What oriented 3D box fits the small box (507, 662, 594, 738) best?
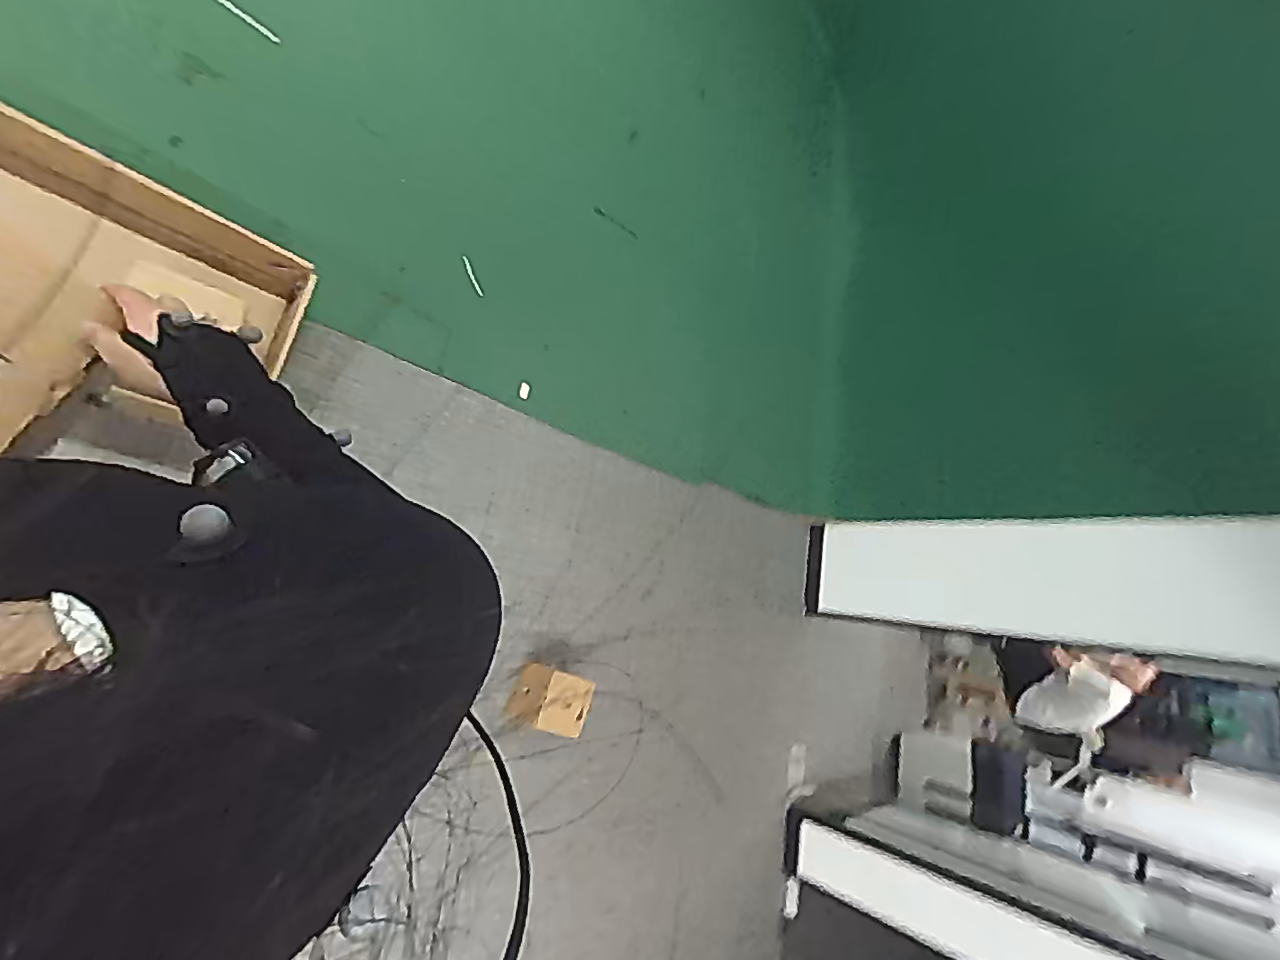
[{"bbox_3d":[-0.280,0.671,1.664,0.179,0.176,0.168,36,63,-35],"label":"small box"}]
